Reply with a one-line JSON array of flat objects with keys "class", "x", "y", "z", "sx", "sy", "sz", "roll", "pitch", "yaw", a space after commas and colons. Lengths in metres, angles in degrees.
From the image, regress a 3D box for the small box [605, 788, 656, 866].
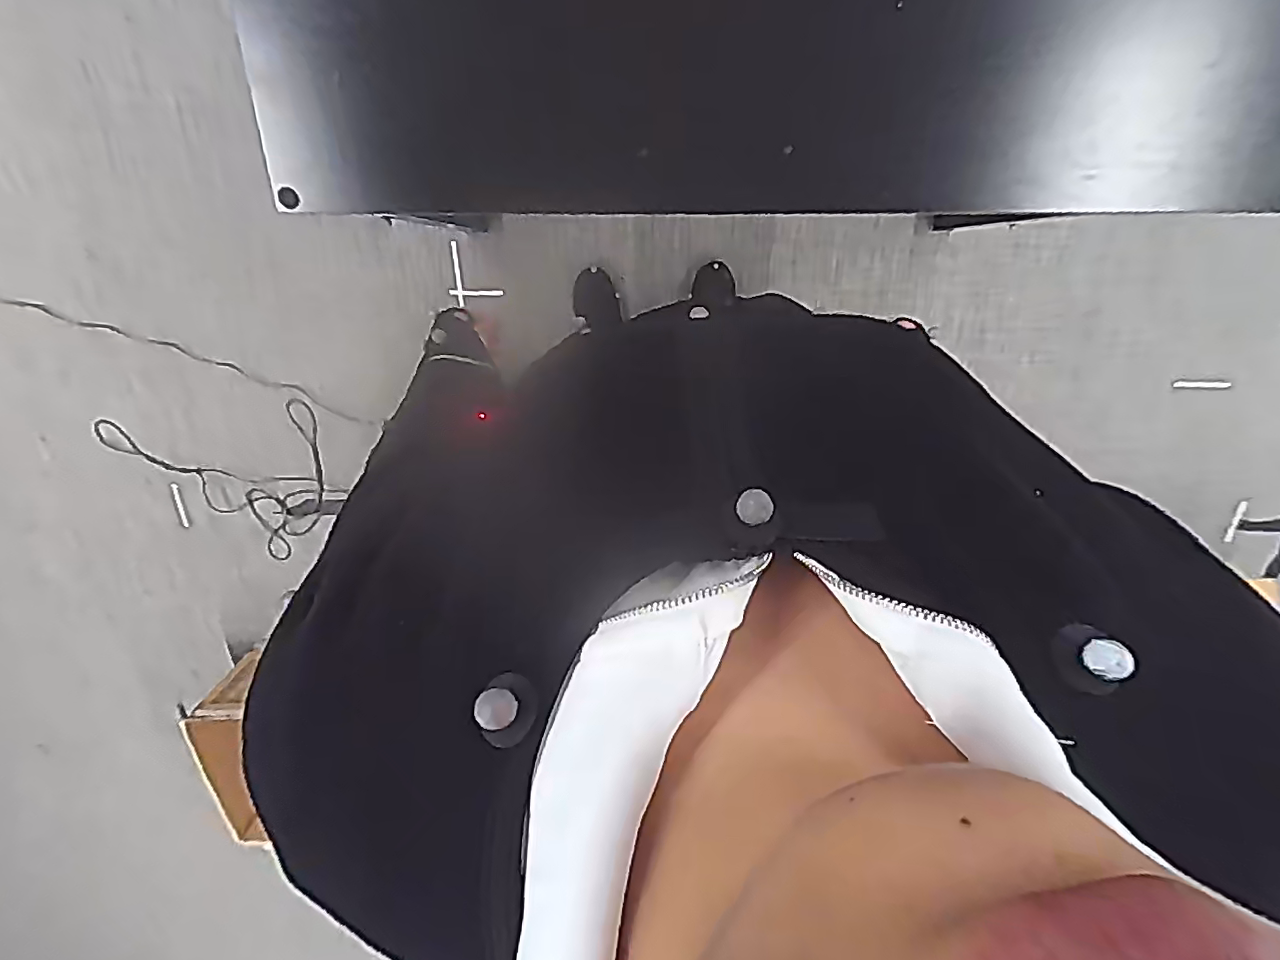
[{"class": "small box", "x": -0.037, "y": 1.216, "z": 1.901, "sx": 0.168, "sy": 0.176, "sz": 0.179, "roll": 4, "pitch": 110, "yaw": -3}]
